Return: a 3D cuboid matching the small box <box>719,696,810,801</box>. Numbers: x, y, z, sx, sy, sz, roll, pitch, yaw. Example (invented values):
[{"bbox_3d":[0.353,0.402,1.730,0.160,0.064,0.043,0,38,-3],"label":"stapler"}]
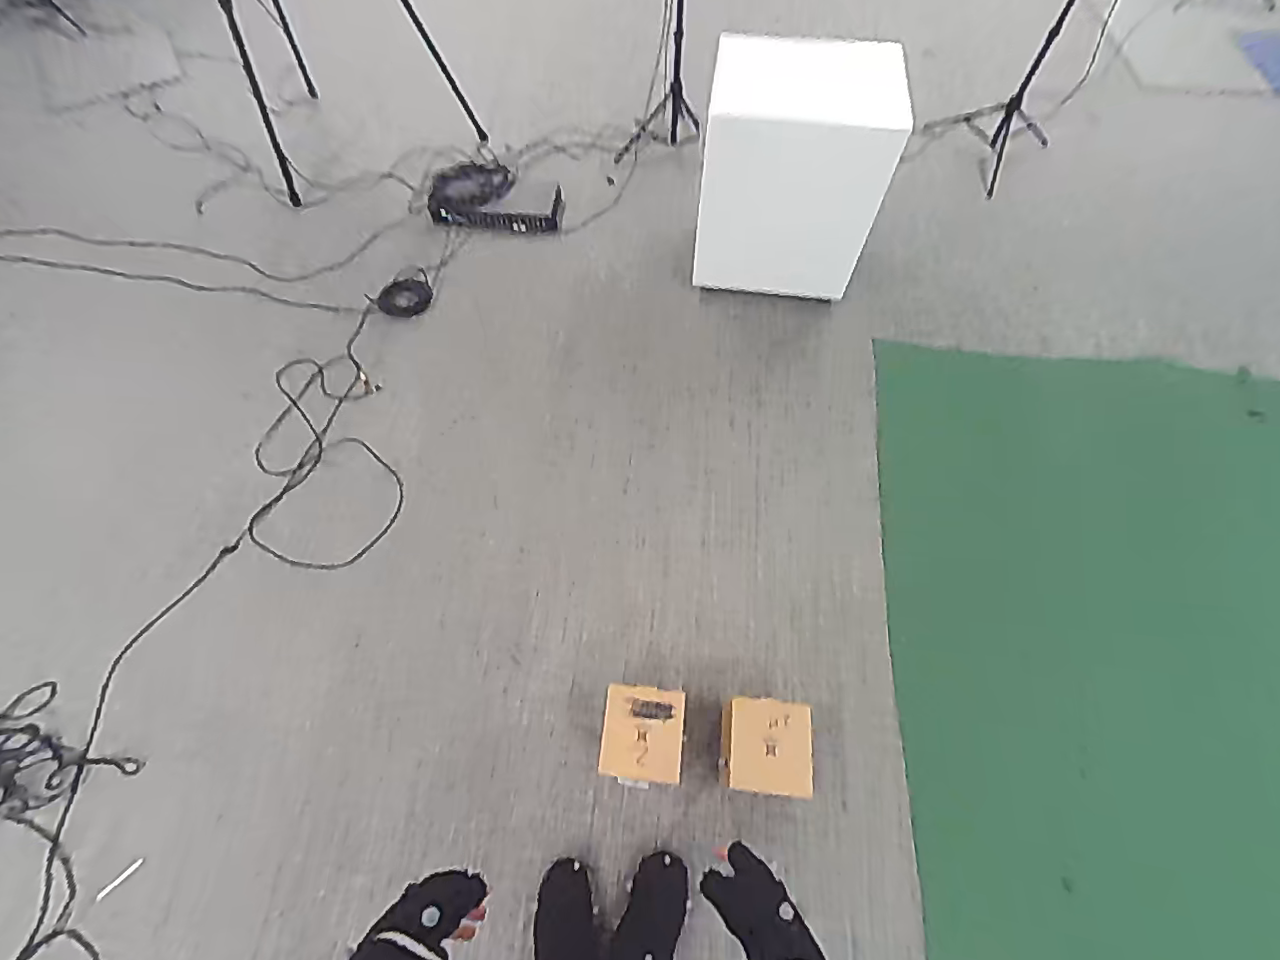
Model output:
[{"bbox_3d":[0.264,0.578,1.167,0.168,0.176,0.179,6,62,3],"label":"small box"}]
